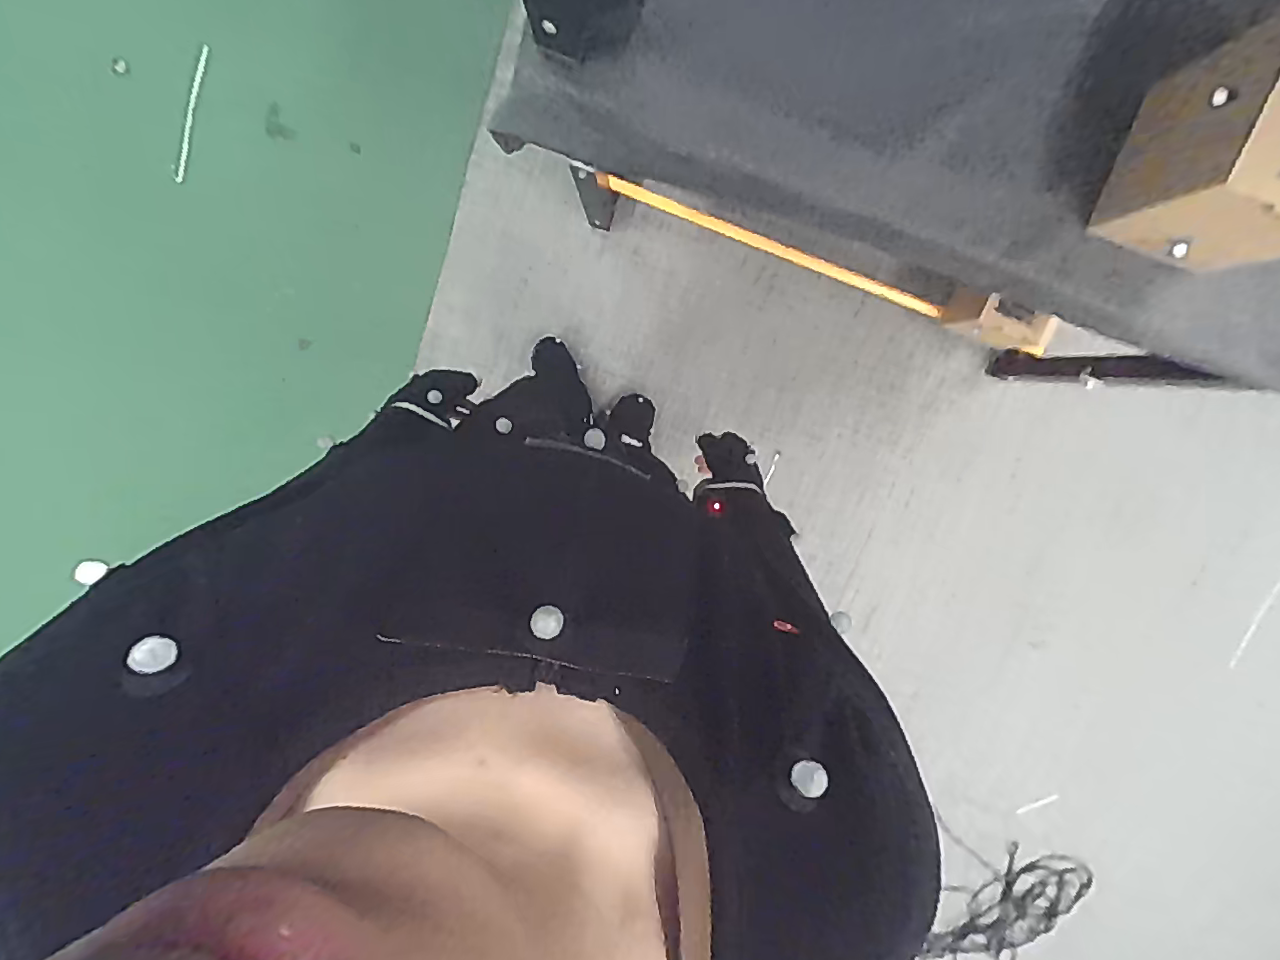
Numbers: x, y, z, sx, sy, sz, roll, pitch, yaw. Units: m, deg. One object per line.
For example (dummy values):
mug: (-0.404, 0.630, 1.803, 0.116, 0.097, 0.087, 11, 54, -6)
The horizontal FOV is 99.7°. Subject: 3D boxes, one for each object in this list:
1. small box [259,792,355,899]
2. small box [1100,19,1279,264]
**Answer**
small box: (-0.976, 1.074, 1.598, 0.168, 0.176, 0.179, 20, 100, -5)
small box: (0.671, -0.363, 0.592, 0.168, 0.176, 0.179, 19, 99, -3)
